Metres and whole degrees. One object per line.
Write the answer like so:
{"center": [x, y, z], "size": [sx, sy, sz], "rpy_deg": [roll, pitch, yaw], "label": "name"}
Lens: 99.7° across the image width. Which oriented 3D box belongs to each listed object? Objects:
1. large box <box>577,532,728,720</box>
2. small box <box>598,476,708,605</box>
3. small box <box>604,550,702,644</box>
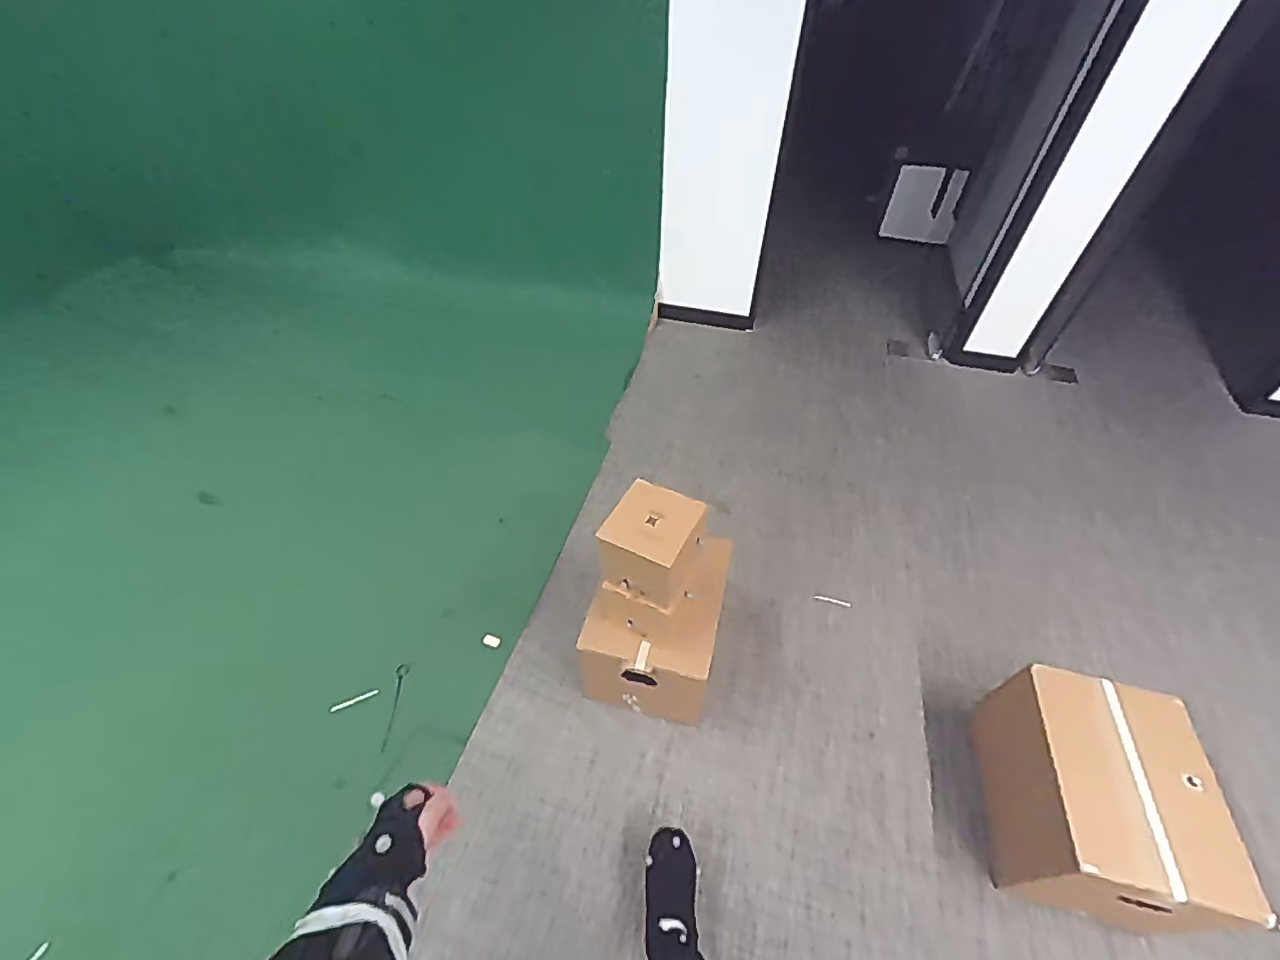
{"center": [0.046, 0.371, 1.464], "size": [0.320, 0.320, 0.408], "rpy_deg": [11, 48, 9], "label": "large box"}
{"center": [0.027, 0.128, 1.136], "size": [0.168, 0.176, 0.179], "rpy_deg": [22, 53, 19], "label": "small box"}
{"center": [0.029, 0.244, 1.251], "size": [0.168, 0.176, 0.179], "rpy_deg": [19, 51, 17], "label": "small box"}
